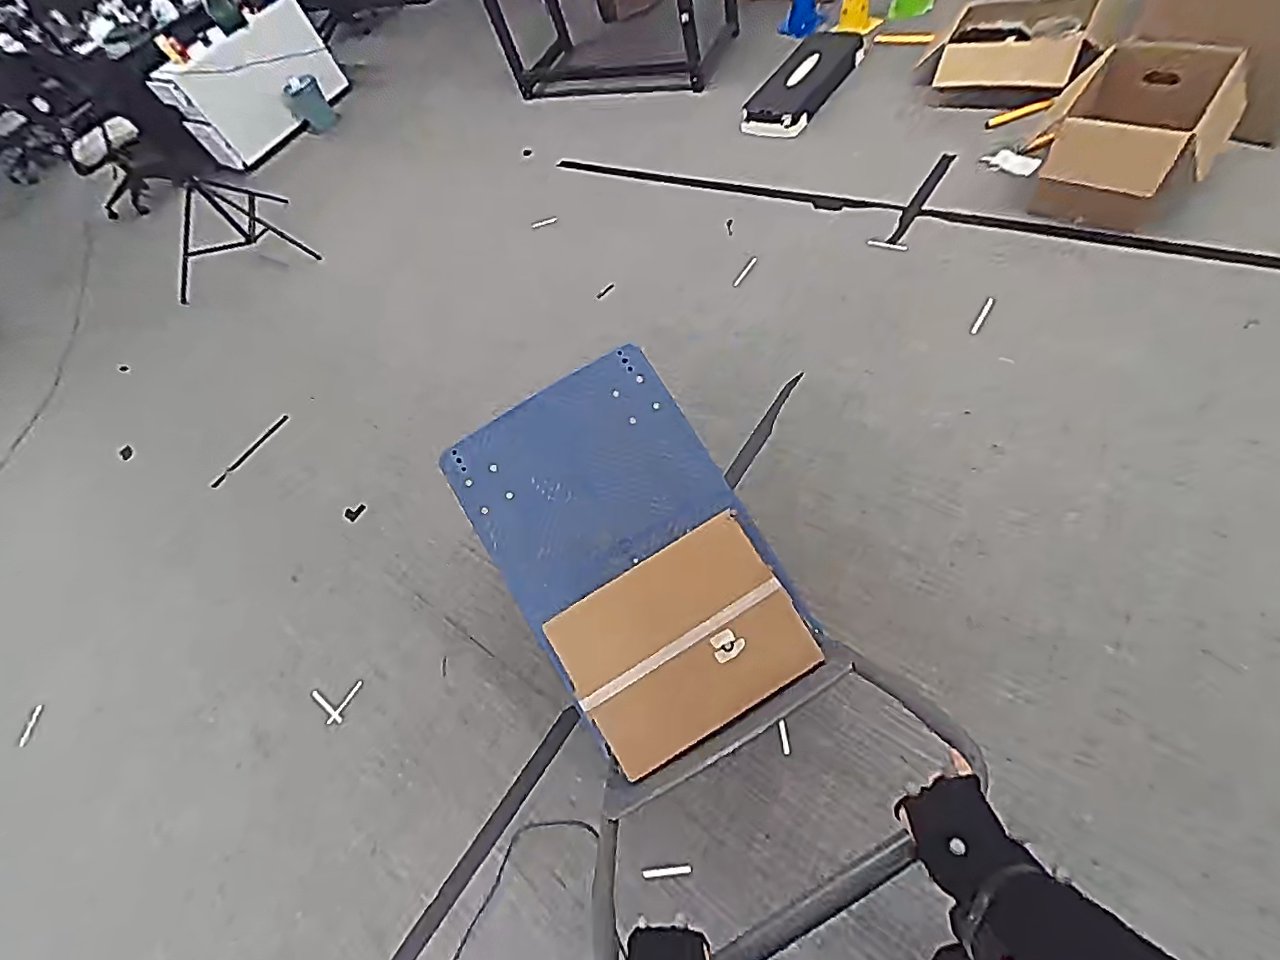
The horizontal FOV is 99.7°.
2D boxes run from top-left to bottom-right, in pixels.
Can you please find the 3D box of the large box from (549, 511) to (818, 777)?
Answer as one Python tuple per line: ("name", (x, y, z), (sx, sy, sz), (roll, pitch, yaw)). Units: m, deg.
("large box", (0.080, 0.315, 1.125), (0.408, 0.320, 0.320), (-33, 82, -4))
